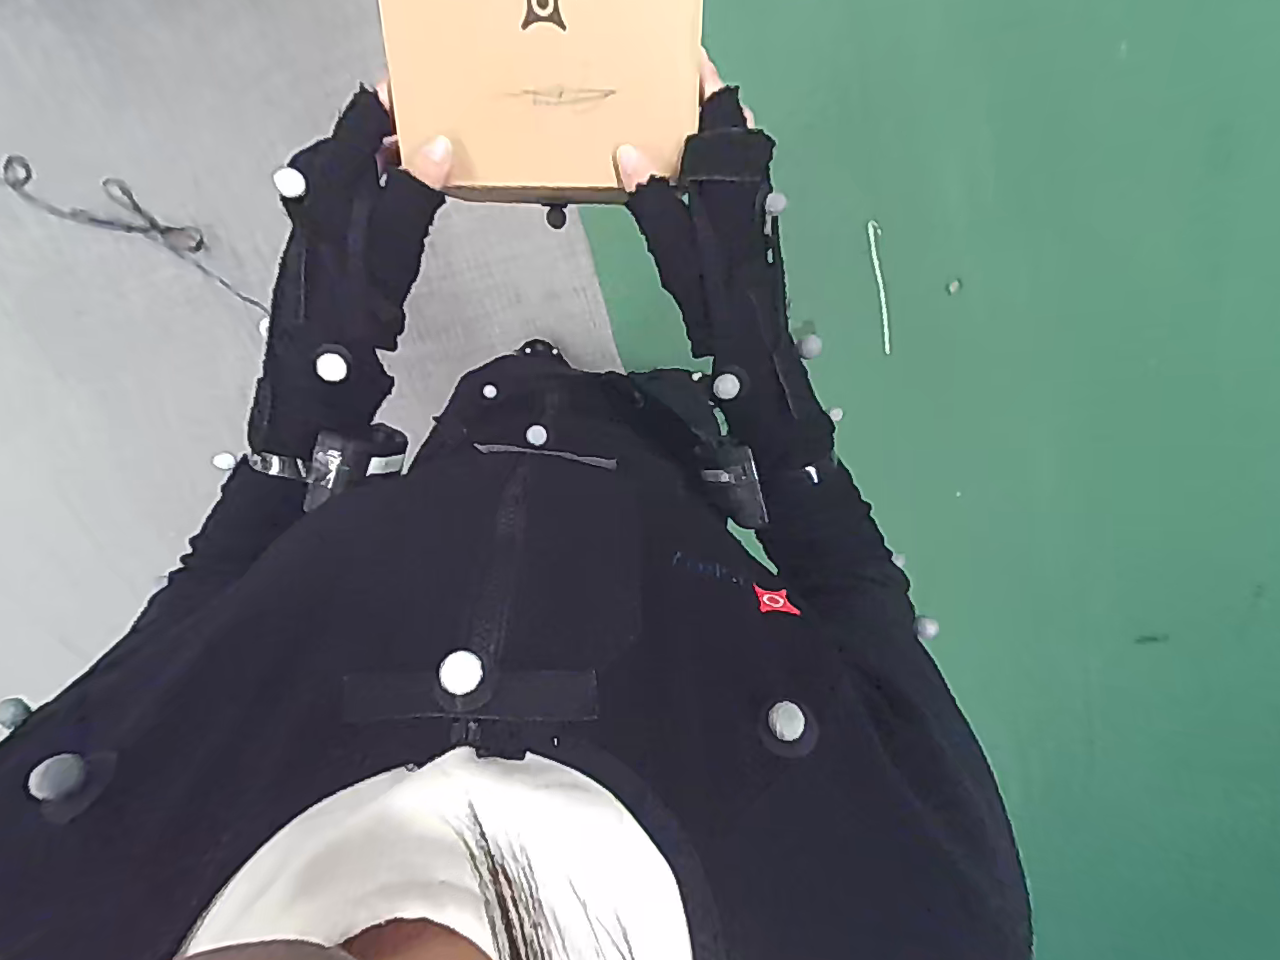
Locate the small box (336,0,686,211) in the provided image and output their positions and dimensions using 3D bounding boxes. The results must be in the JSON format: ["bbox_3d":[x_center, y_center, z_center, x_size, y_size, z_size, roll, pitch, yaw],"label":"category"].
[{"bbox_3d":[-0.062,-0.269,0.324,0.168,0.176,0.179,2,113,-2],"label":"small box"}]
